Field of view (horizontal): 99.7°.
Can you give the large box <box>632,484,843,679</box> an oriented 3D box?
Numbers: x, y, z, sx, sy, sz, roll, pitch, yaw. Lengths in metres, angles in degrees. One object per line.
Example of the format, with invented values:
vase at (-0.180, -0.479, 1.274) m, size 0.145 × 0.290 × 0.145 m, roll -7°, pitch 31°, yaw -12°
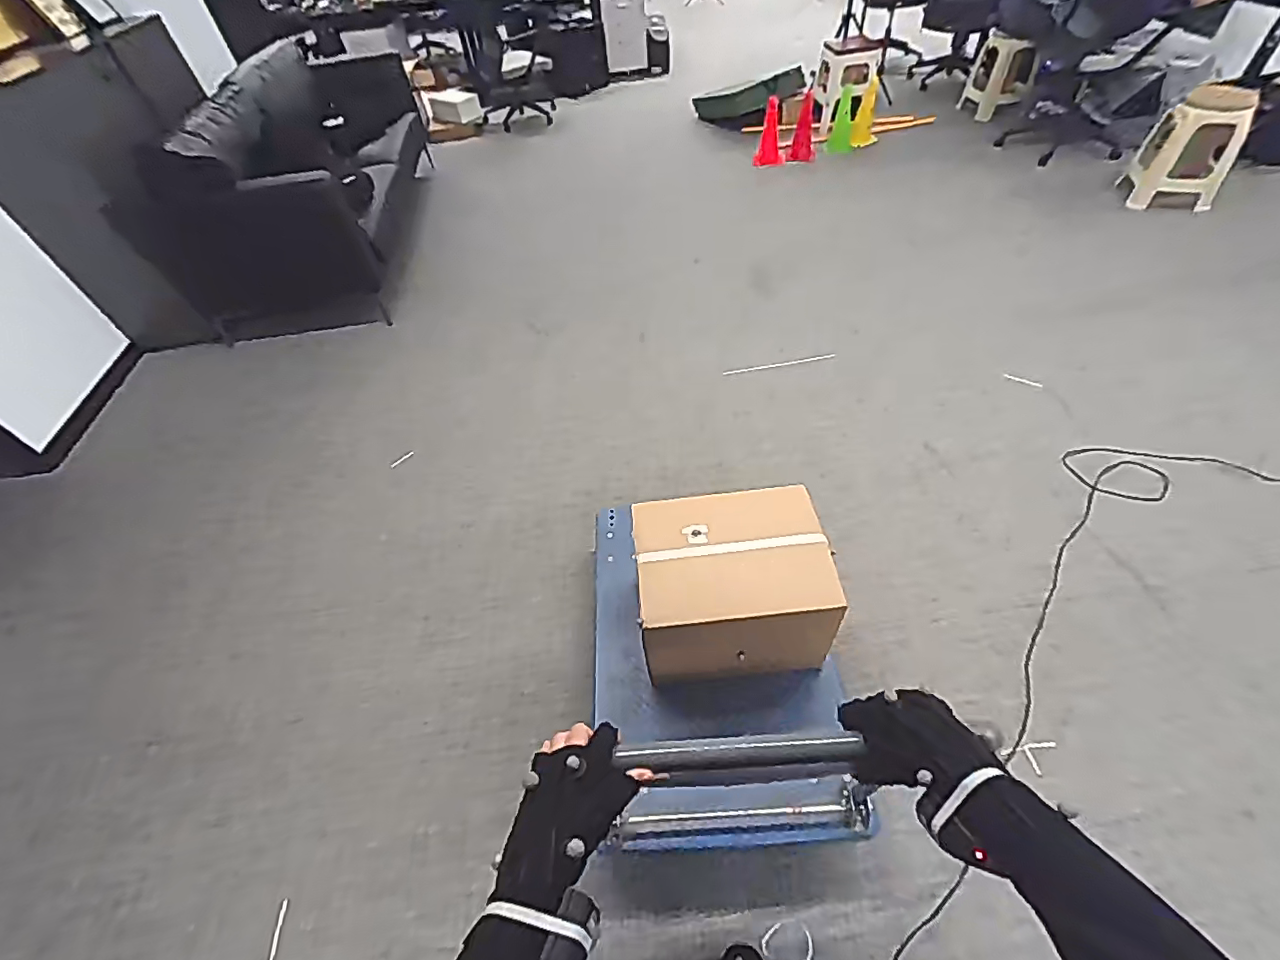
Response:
large box at (0.210, 0.246, 1.279) m, size 0.408 × 0.320 × 0.320 m, roll -8°, pitch 49°, yaw 1°
